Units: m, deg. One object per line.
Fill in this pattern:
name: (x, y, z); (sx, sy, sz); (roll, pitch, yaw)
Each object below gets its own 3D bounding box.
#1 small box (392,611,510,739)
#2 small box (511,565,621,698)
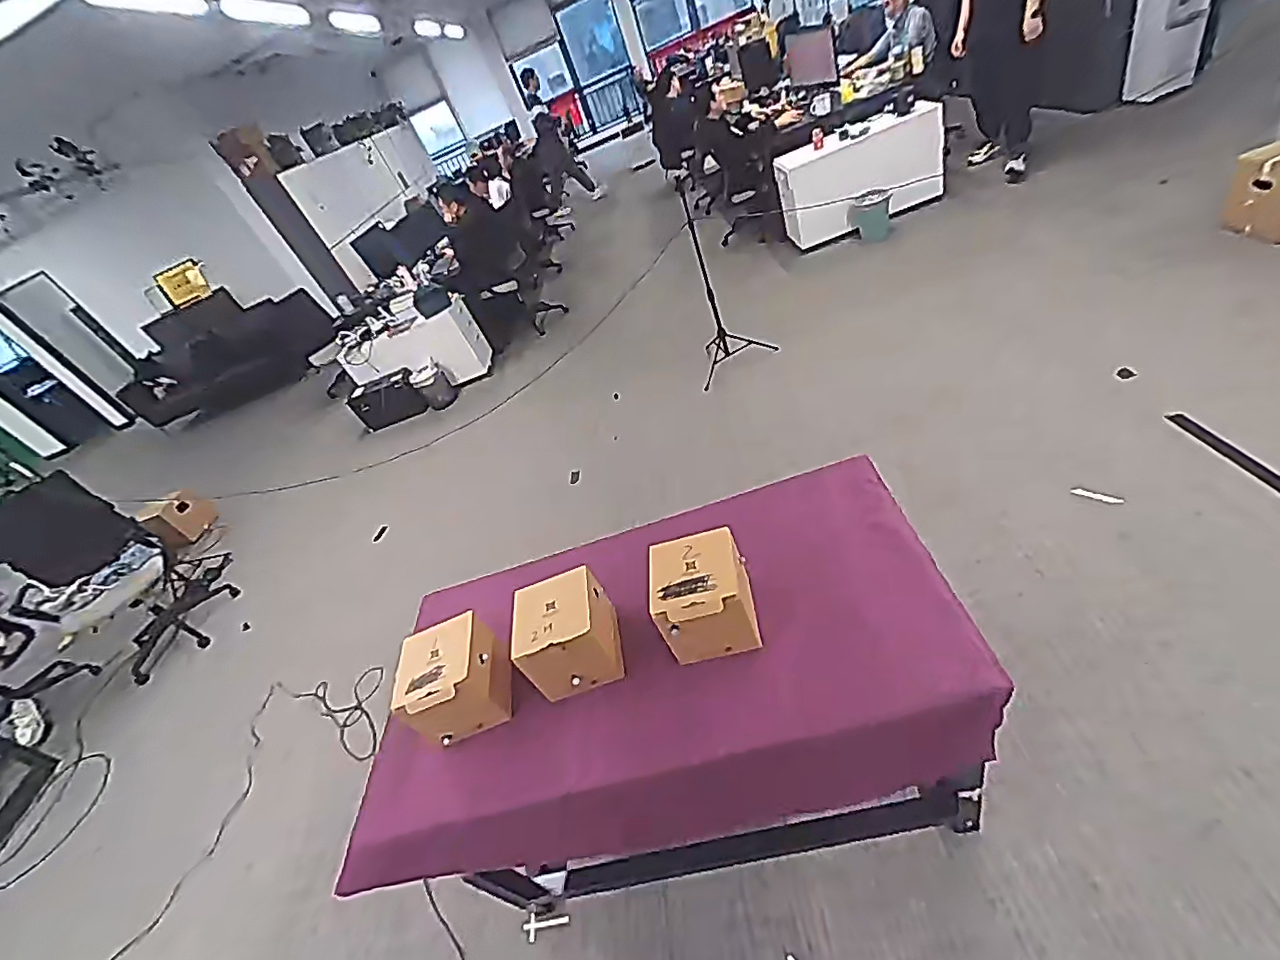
small box: (-0.385, 0.415, 1.134); (0.168, 0.176, 0.179); (-23, 37, 3)
small box: (-0.149, 0.314, 1.116); (0.168, 0.176, 0.179); (-22, 38, 7)
